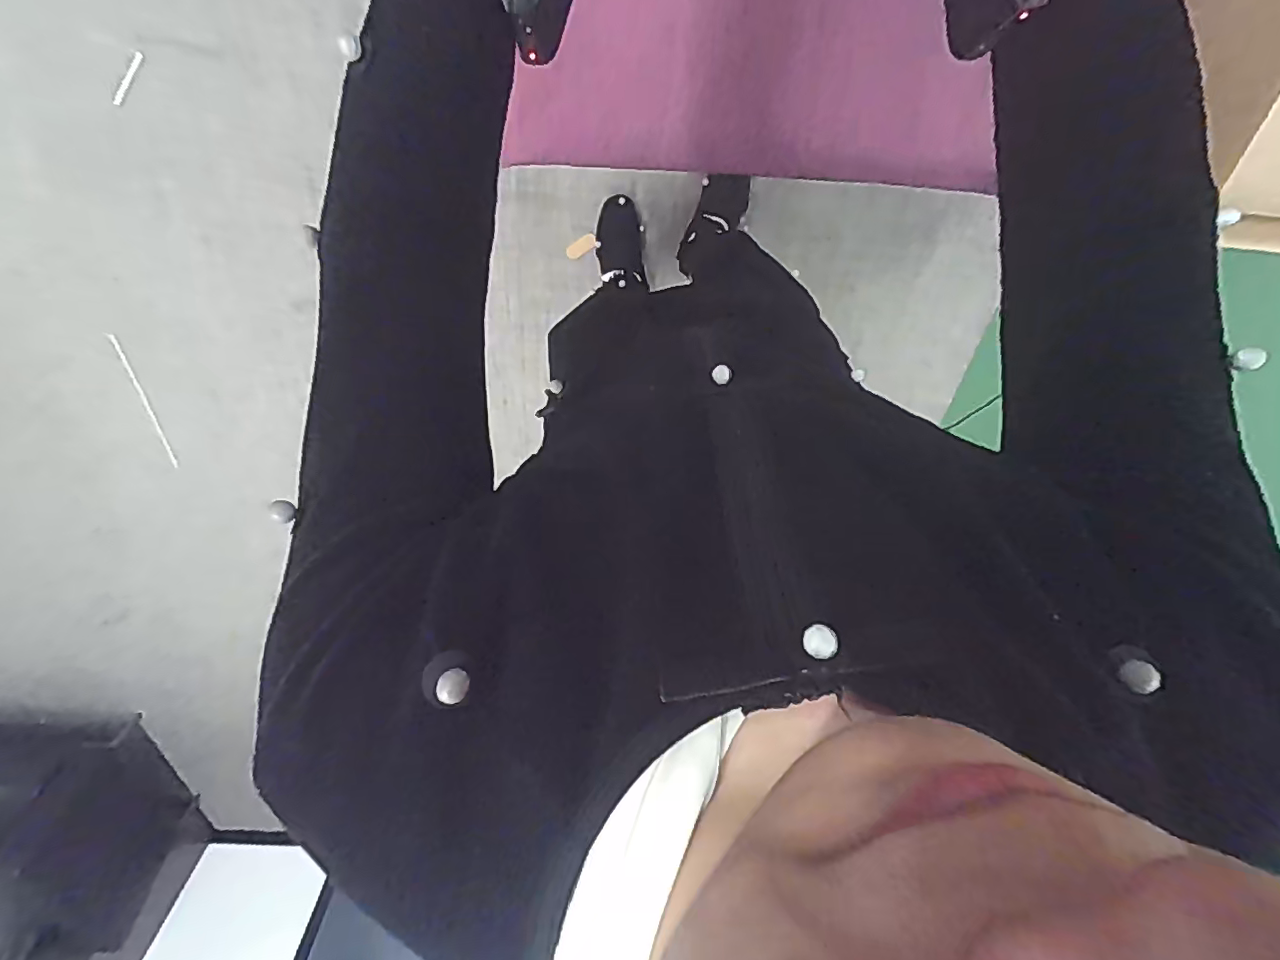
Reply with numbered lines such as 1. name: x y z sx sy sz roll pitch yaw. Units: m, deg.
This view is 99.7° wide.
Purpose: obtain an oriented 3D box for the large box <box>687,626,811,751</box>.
1. large box: 0.451 0.885 2.298 0.408 0.320 0.320 -23 123 14

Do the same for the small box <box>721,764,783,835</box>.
1. small box: 0.413 1.181 2.004 0.179 0.176 0.168 -16 124 11
